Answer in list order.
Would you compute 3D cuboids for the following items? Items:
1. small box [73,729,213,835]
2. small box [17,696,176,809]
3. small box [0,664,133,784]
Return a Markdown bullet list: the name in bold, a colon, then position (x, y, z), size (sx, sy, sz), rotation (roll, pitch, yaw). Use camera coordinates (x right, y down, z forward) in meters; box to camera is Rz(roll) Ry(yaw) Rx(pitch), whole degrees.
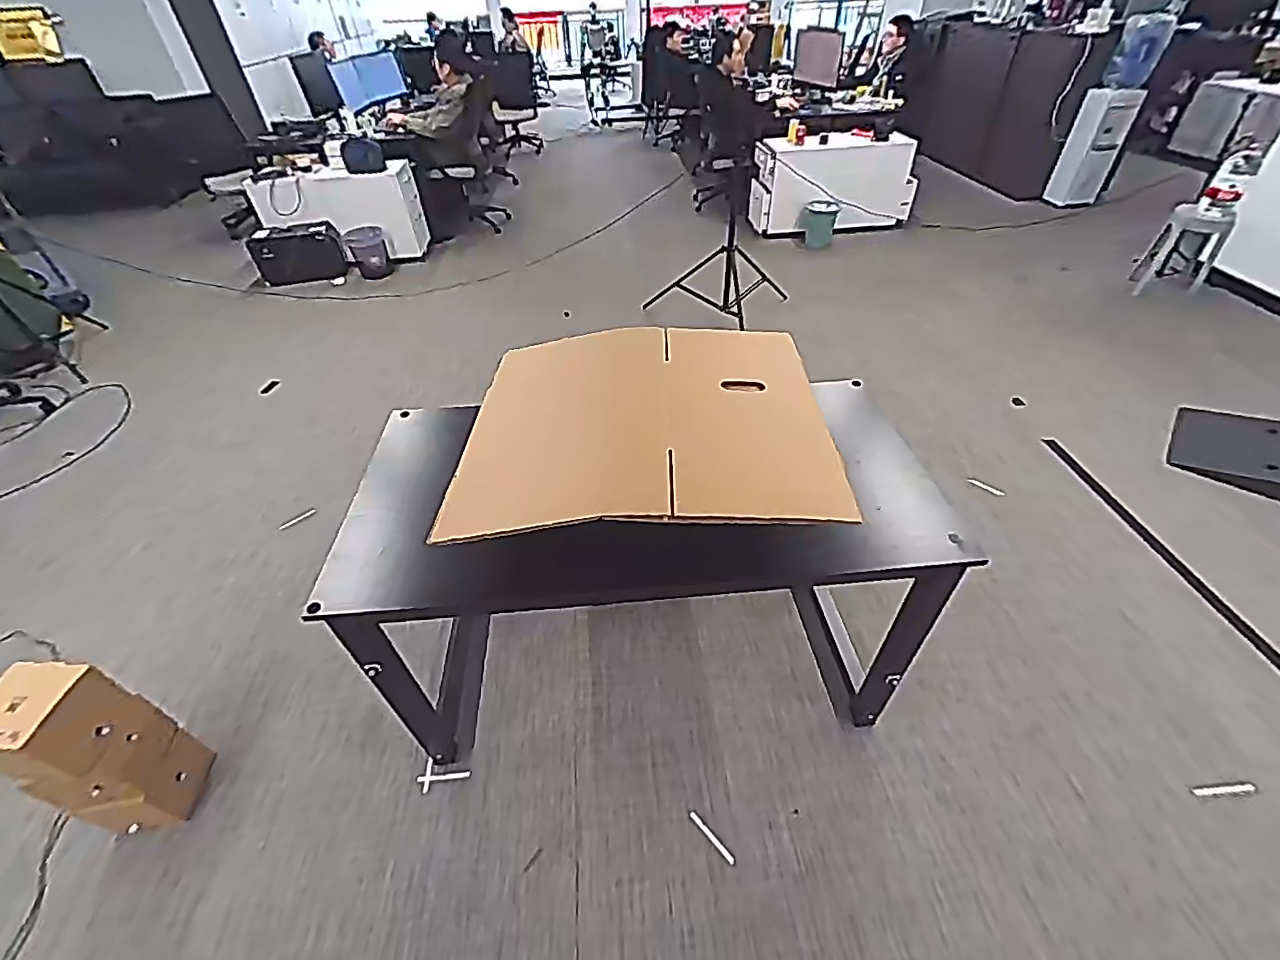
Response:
- **small box**: position (-1.222, 0.755, 1.351), size (0.168, 0.176, 0.179), rotation (-7, 44, -5)
- **small box**: position (-1.230, 0.632, 1.246), size (0.168, 0.176, 0.179), rotation (-9, 42, -8)
- **small box**: position (-1.234, 0.511, 1.135), size (0.168, 0.176, 0.179), rotation (1, 42, 3)
